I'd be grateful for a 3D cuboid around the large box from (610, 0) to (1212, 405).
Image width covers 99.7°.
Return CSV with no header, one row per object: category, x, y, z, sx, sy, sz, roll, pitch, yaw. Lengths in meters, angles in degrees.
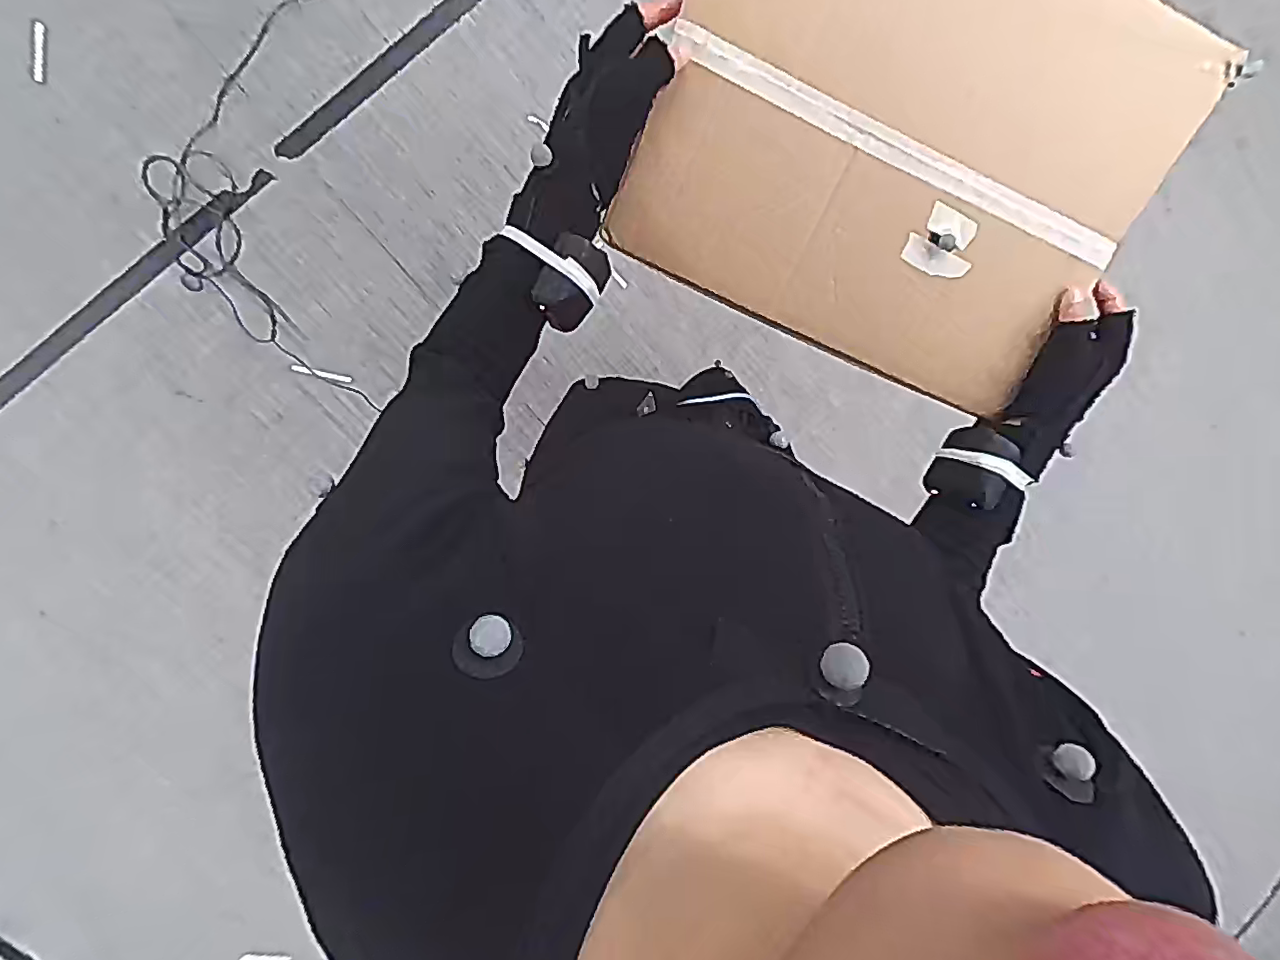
large box,0.212,-0.325,0.588,0.408,0.320,0.320,23,110,-8
